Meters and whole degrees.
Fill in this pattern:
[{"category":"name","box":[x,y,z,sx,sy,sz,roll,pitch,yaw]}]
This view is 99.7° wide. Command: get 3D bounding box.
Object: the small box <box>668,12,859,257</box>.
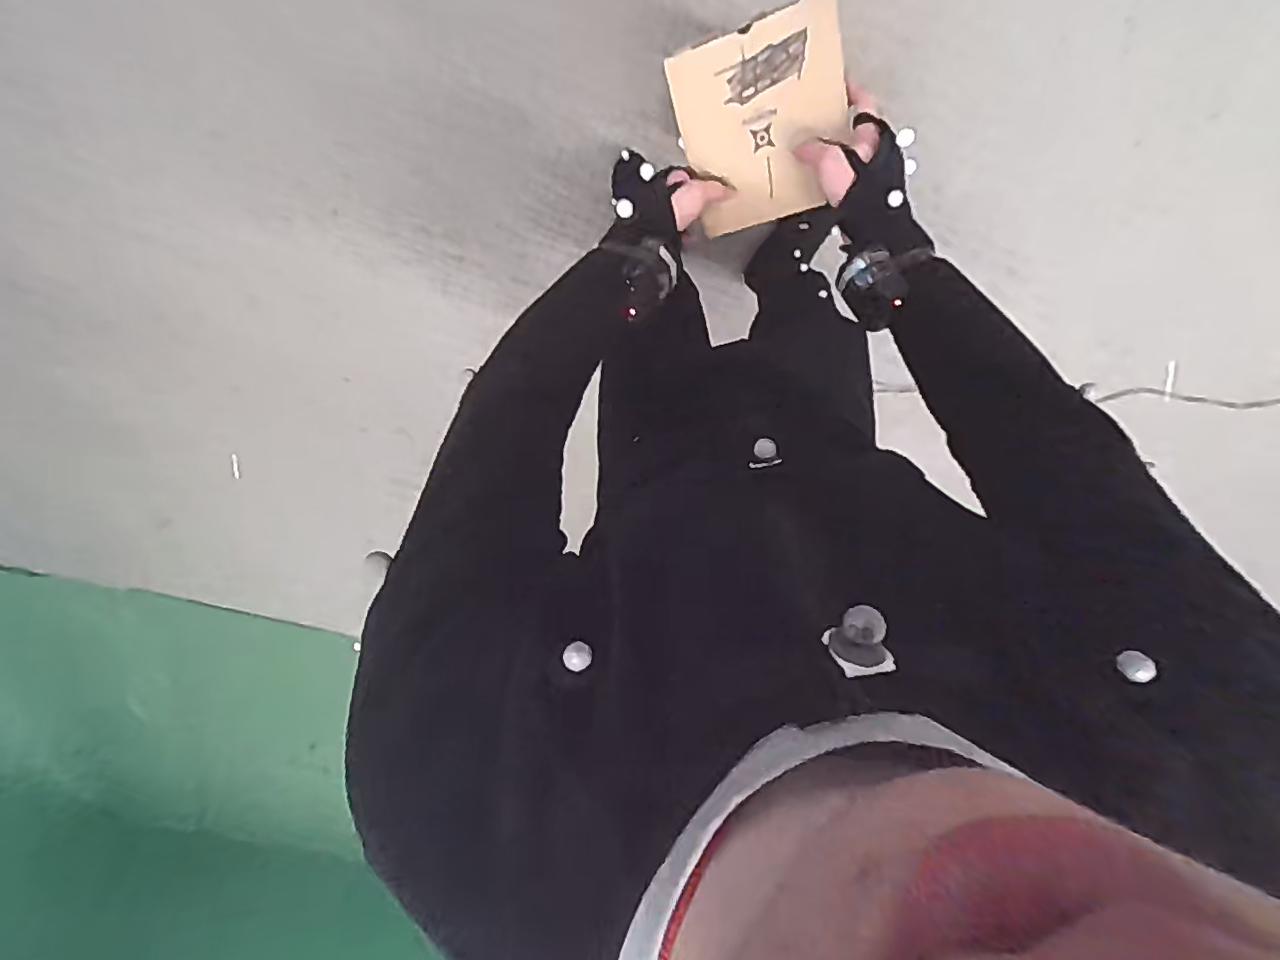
[{"category":"small box","box":[0.148,-0.379,0.611,0.168,0.176,0.179,-7,122,25]}]
